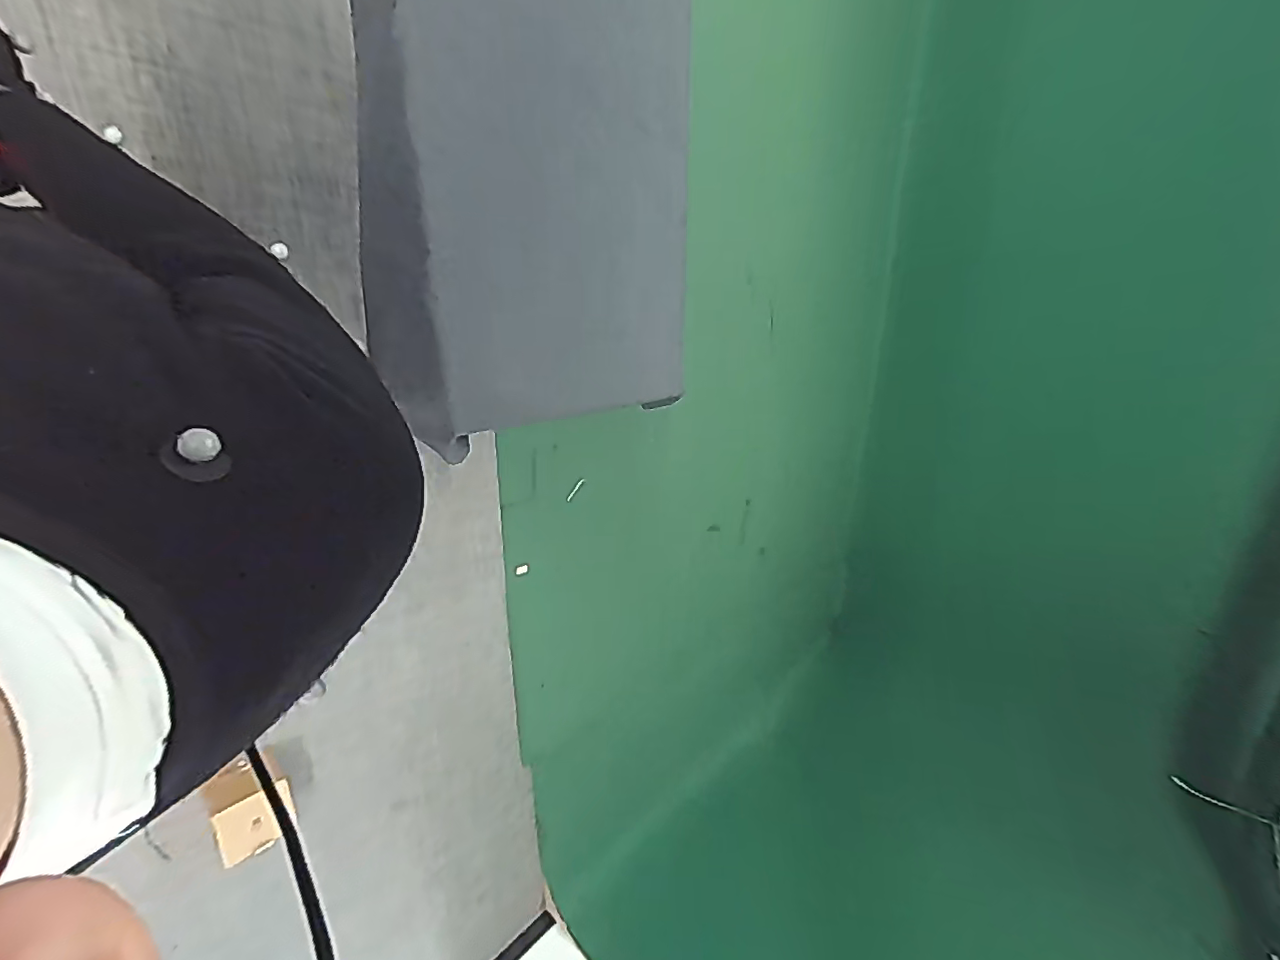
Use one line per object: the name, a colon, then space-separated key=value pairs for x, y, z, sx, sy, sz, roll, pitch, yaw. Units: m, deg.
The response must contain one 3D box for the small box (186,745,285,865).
small box: x=-1.072 y=0.850 z=1.433 sx=0.168 sy=0.176 sz=0.179 roll=-16 pitch=115 yaw=-46
